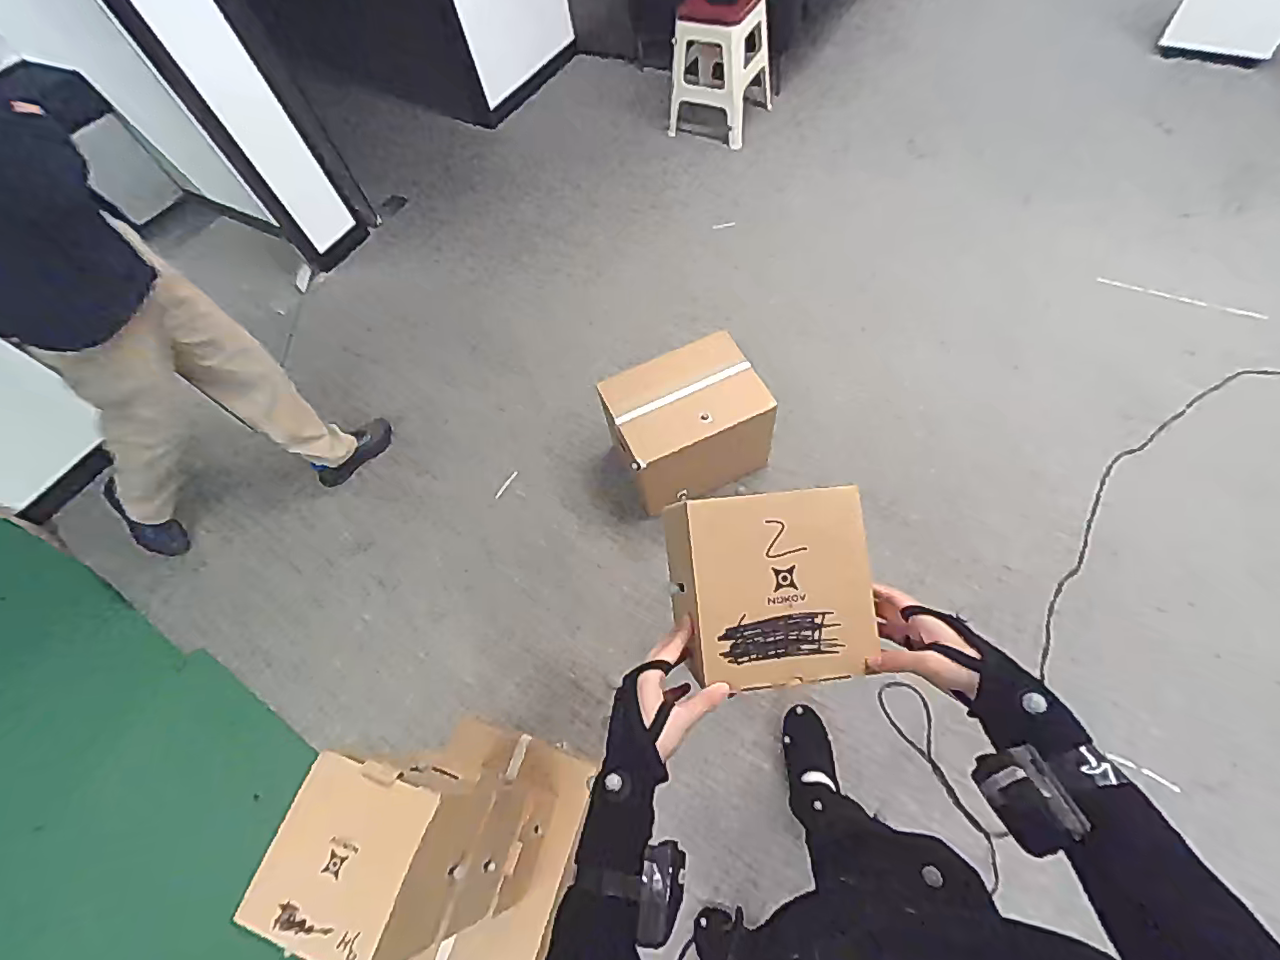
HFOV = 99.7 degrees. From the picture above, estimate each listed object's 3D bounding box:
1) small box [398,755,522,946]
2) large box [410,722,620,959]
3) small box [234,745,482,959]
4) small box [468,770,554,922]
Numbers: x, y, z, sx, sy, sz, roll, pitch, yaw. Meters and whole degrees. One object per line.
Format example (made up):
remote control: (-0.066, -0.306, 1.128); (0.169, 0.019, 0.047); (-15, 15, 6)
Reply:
small box: (-0.290, 0.526, 0.792); (0.168, 0.176, 0.179); (12, 63, 15)
large box: (-0.263, 0.766, 1.124); (0.320, 0.320, 0.408); (12, 64, 16)
small box: (-0.314, 0.445, 0.651); (0.168, 0.176, 0.179); (13, 61, 15)
small box: (-0.268, 0.611, 0.930); (0.179, 0.176, 0.168); (13, 62, 15)
